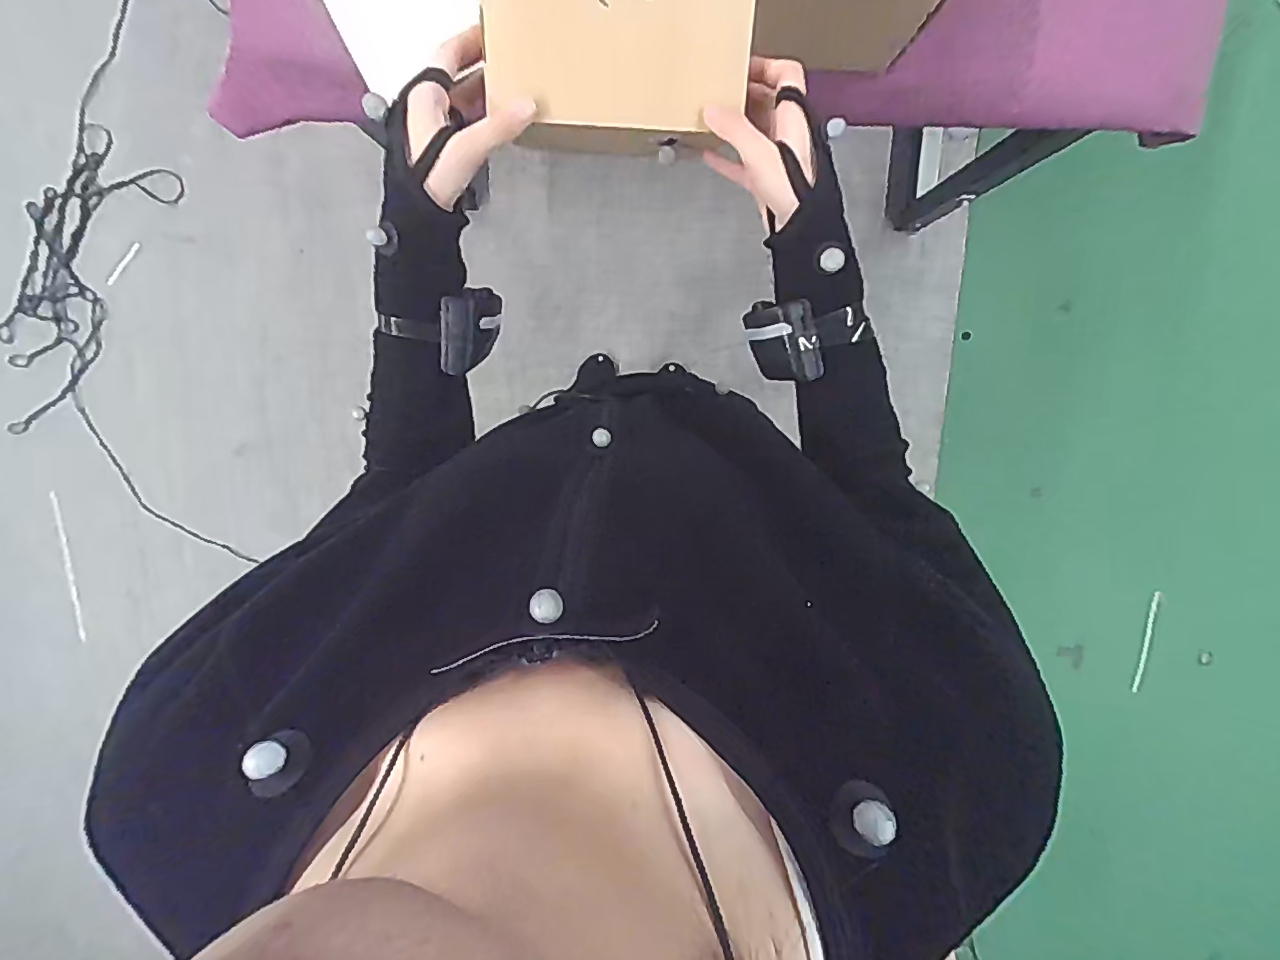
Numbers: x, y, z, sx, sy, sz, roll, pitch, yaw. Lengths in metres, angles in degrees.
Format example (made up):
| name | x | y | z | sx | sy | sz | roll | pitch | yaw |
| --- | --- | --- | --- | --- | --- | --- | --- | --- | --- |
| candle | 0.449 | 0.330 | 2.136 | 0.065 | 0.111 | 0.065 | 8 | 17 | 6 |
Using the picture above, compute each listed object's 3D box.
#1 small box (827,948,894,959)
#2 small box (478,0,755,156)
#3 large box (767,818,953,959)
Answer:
| name | x | y | z | sx | sy | sz | roll | pitch | yaw |
| --- | --- | --- | --- | --- | --- | --- | --- | --- | --- |
| small box | 0.572 | 1.295 | 1.322 | 0.168 | 0.176 | 0.179 | -12 | 99 | 4 |
| small box | -0.020 | -0.347 | 0.401 | 0.179 | 0.176 | 0.168 | 0 | 115 | -6 |
| large box | 0.622 | 1.257 | 1.562 | 0.408 | 0.320 | 0.320 | -13 | 100 | 2 |
